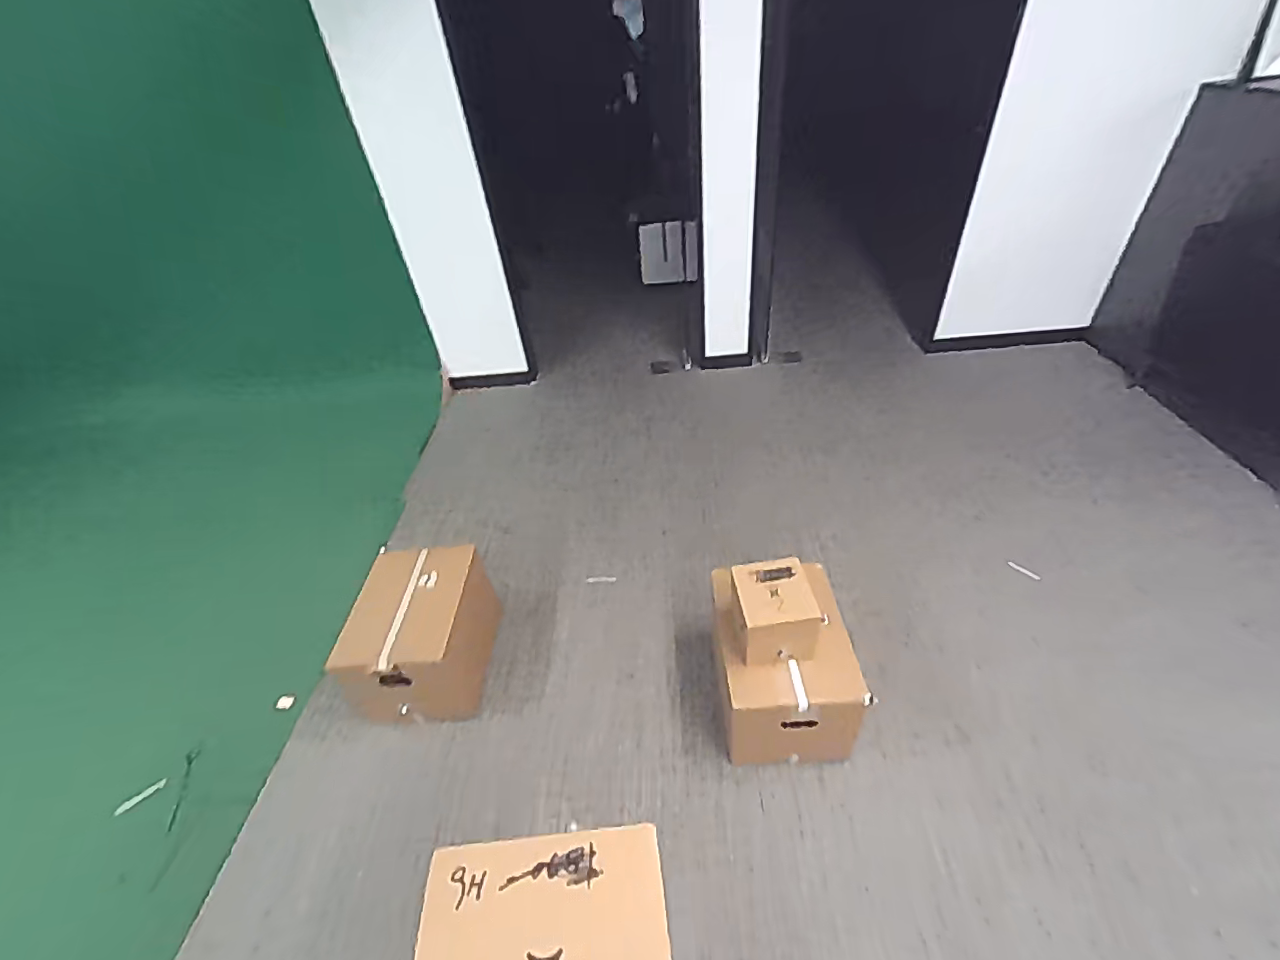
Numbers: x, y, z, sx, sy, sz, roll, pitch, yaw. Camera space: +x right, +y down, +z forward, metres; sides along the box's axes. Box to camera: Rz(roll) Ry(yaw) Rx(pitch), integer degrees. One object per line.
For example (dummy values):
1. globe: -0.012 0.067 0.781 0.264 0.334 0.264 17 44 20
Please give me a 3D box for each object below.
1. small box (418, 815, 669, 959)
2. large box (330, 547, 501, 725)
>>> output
1. small box: -0.061 0.377 0.395 0.168 0.176 0.179 -4 41 -4
2. large box: -0.640 0.465 1.630 0.320 0.320 0.408 -5 39 3
